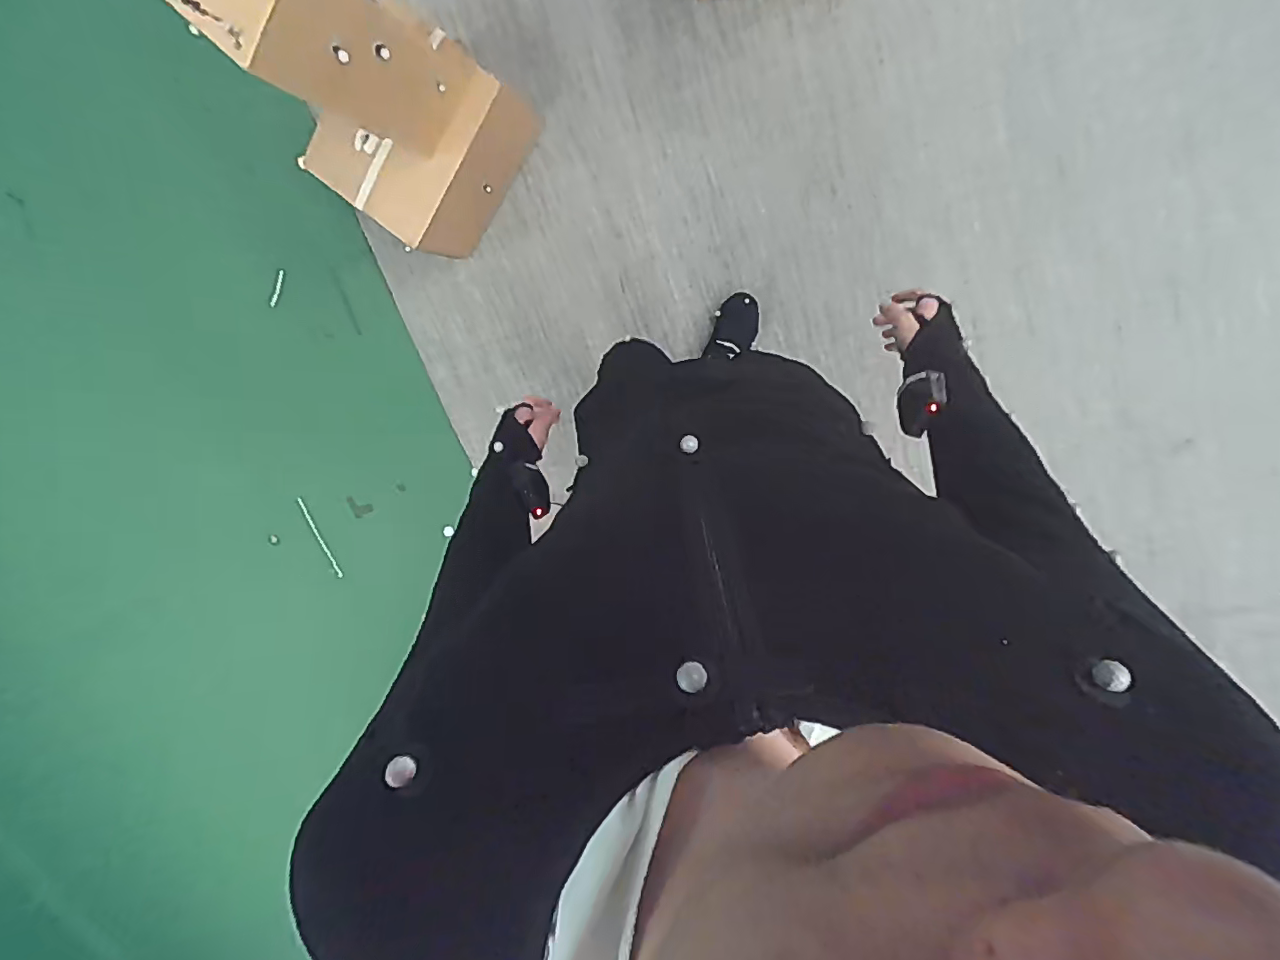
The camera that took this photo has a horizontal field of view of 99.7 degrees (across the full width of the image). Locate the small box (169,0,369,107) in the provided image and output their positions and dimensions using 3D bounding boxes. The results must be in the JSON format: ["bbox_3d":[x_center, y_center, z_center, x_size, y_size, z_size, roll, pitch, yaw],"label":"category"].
[{"bbox_3d":[-0.520,-0.682,0.760,0.168,0.176,0.179,41,108,-7],"label":"small box"}]

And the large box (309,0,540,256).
[{"bbox_3d":[-0.505,-0.821,1.322,0.320,0.320,0.408,37,110,-4],"label":"large box"}]

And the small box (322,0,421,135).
[{"bbox_3d":[-0.503,-0.735,0.914,0.168,0.176,0.179,41,109,-7],"label":"small box"}]
